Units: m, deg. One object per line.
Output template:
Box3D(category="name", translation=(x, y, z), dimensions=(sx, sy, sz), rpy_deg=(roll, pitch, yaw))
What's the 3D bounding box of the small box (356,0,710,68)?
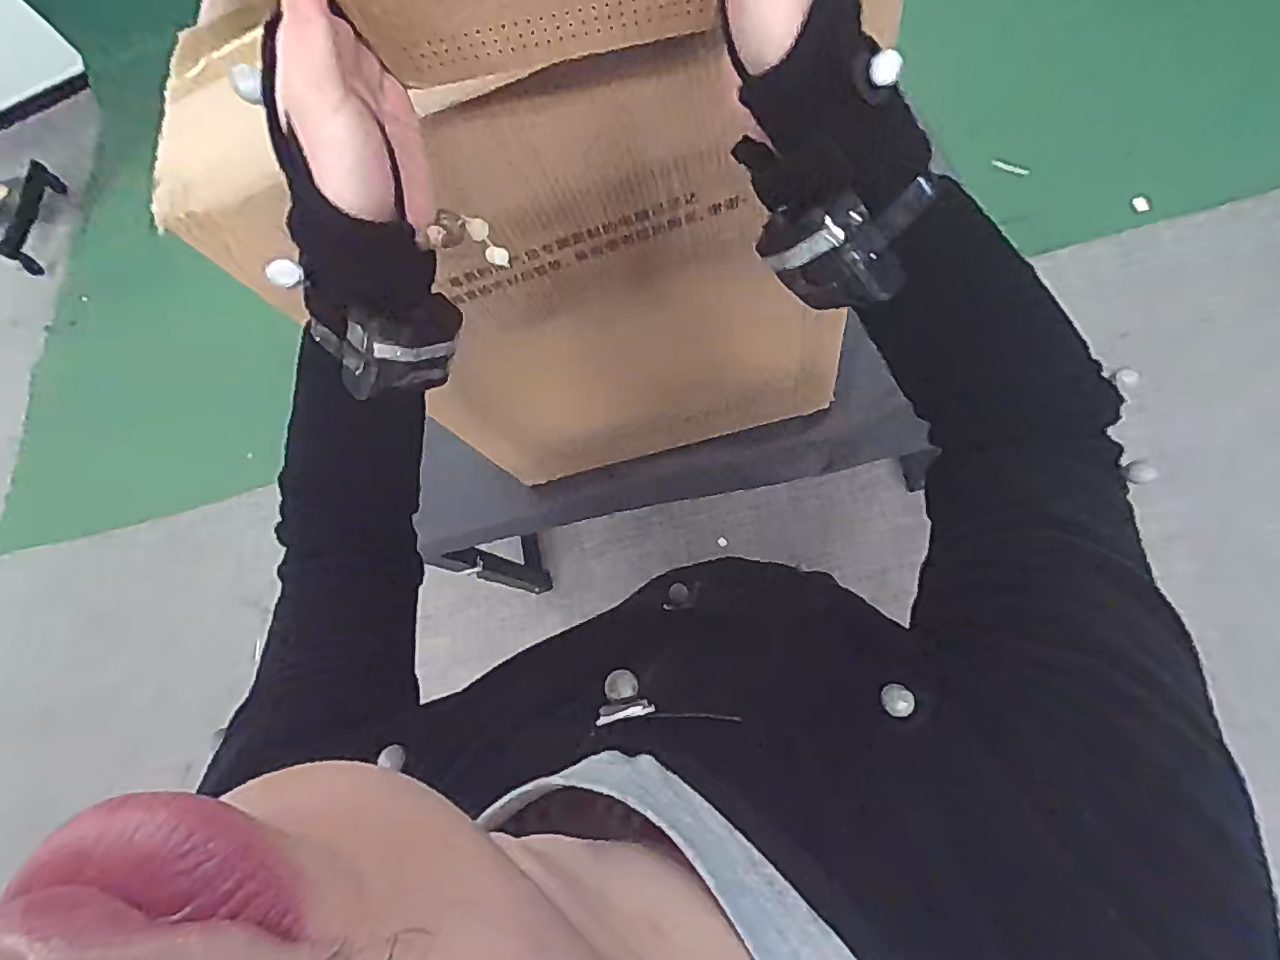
Box3D(category="small box", translation=(-0.058, -0.294, 0.194), dimensions=(0.179, 0.176, 0.168), rpy_deg=(-6, 95, 7))
